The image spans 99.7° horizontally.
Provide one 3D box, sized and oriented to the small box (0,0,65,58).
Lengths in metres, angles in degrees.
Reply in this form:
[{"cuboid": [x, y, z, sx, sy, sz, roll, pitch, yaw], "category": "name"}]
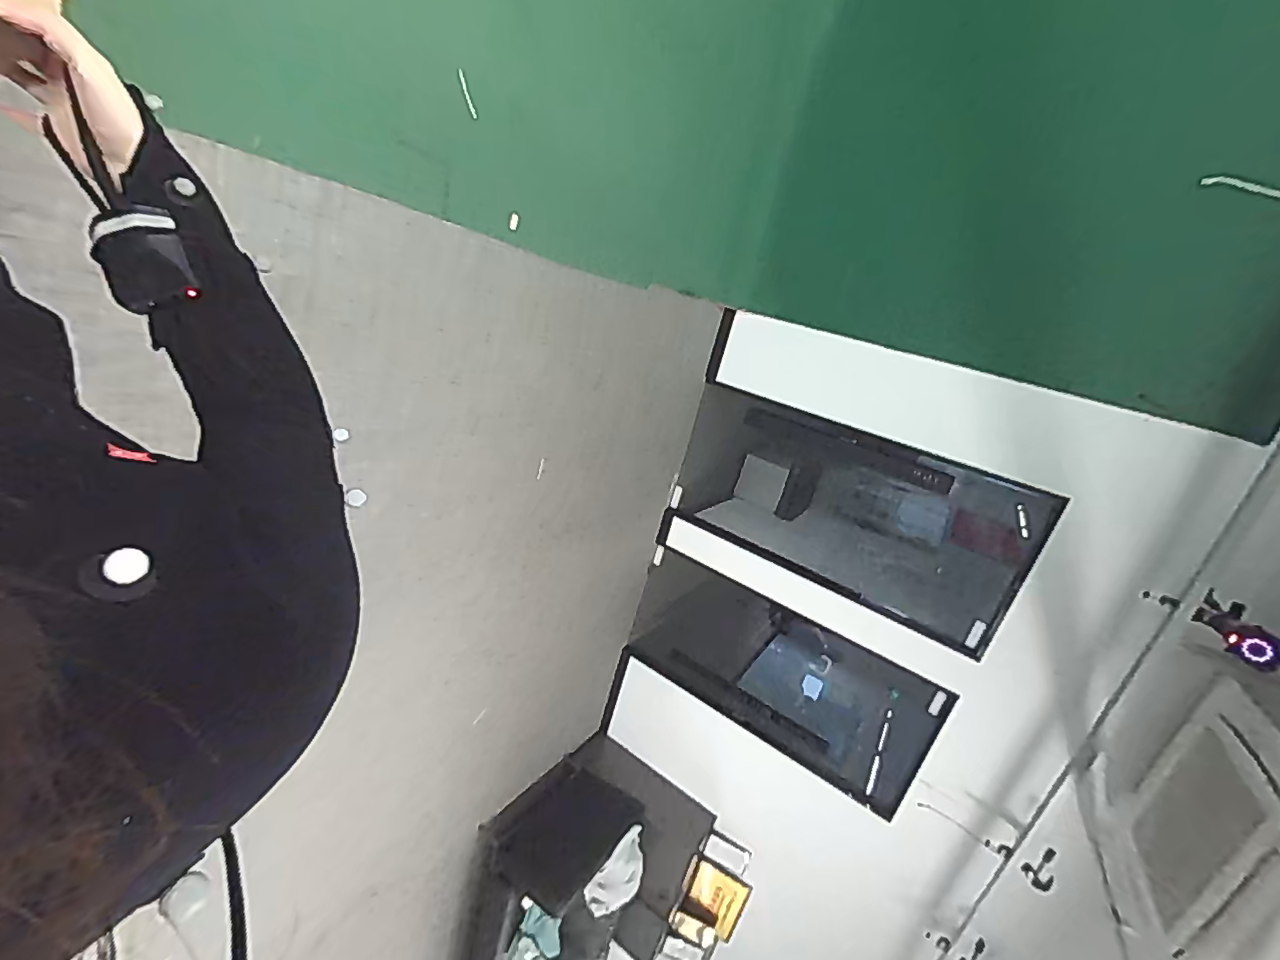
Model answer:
[{"cuboid": [-0.479, -0.389, 0.322, 0.179, 0.176, 0.168, 23, 78, -64], "category": "small box"}]
